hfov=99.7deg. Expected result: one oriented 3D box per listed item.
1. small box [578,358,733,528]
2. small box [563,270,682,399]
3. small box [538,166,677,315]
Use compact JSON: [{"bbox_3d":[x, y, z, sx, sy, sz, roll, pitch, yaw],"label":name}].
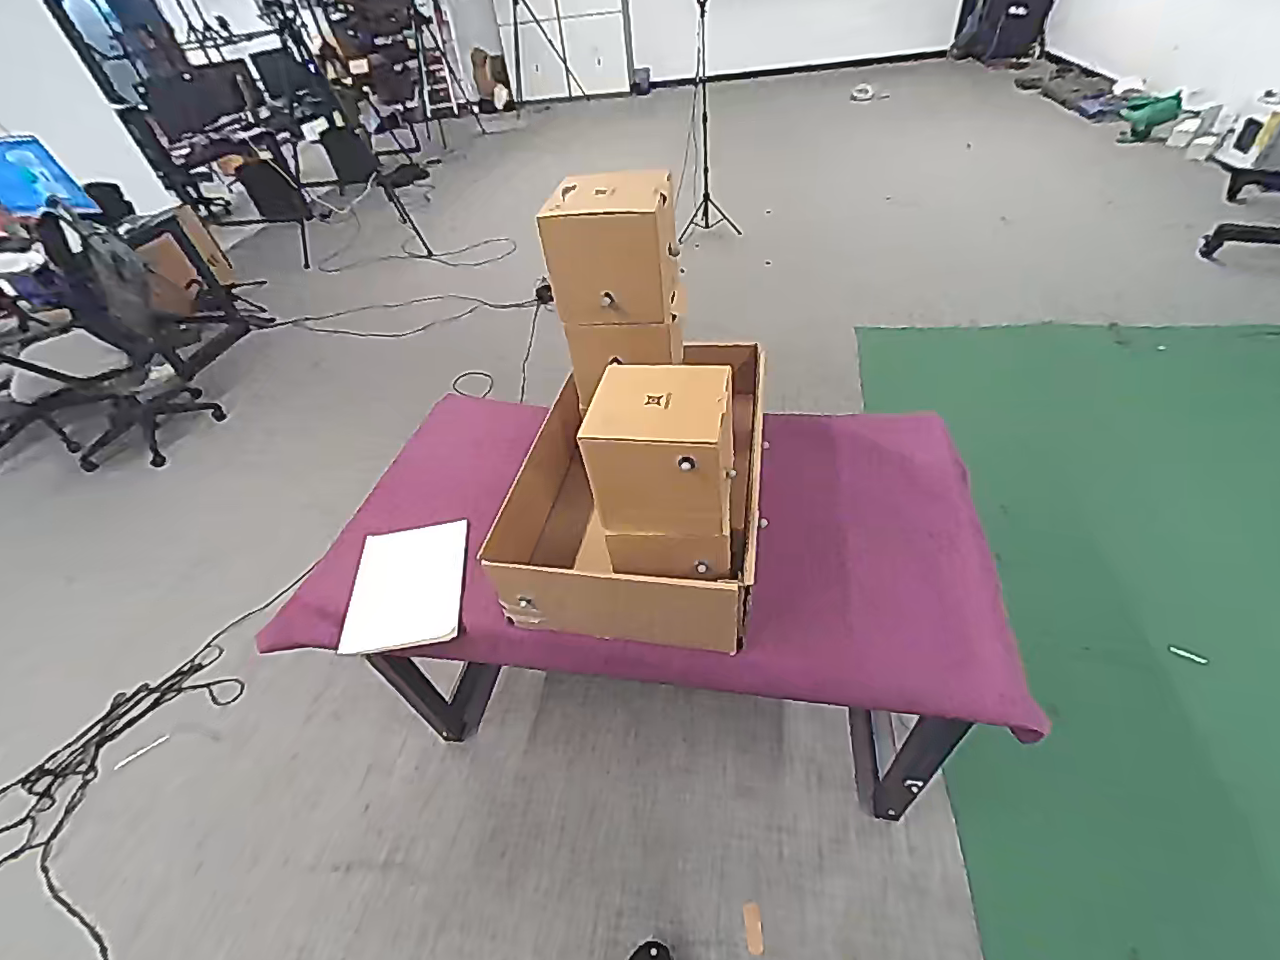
[{"bbox_3d":[0.032,-0.051,0.740,0.179,0.176,0.168,4,44,12],"label":"small box"},{"bbox_3d":[-0.019,-0.255,0.961,0.179,0.176,0.168,1,46,10],"label":"small box"},{"bbox_3d":[-0.038,-0.372,0.848,0.179,0.176,0.168,4,46,11],"label":"small box"}]
